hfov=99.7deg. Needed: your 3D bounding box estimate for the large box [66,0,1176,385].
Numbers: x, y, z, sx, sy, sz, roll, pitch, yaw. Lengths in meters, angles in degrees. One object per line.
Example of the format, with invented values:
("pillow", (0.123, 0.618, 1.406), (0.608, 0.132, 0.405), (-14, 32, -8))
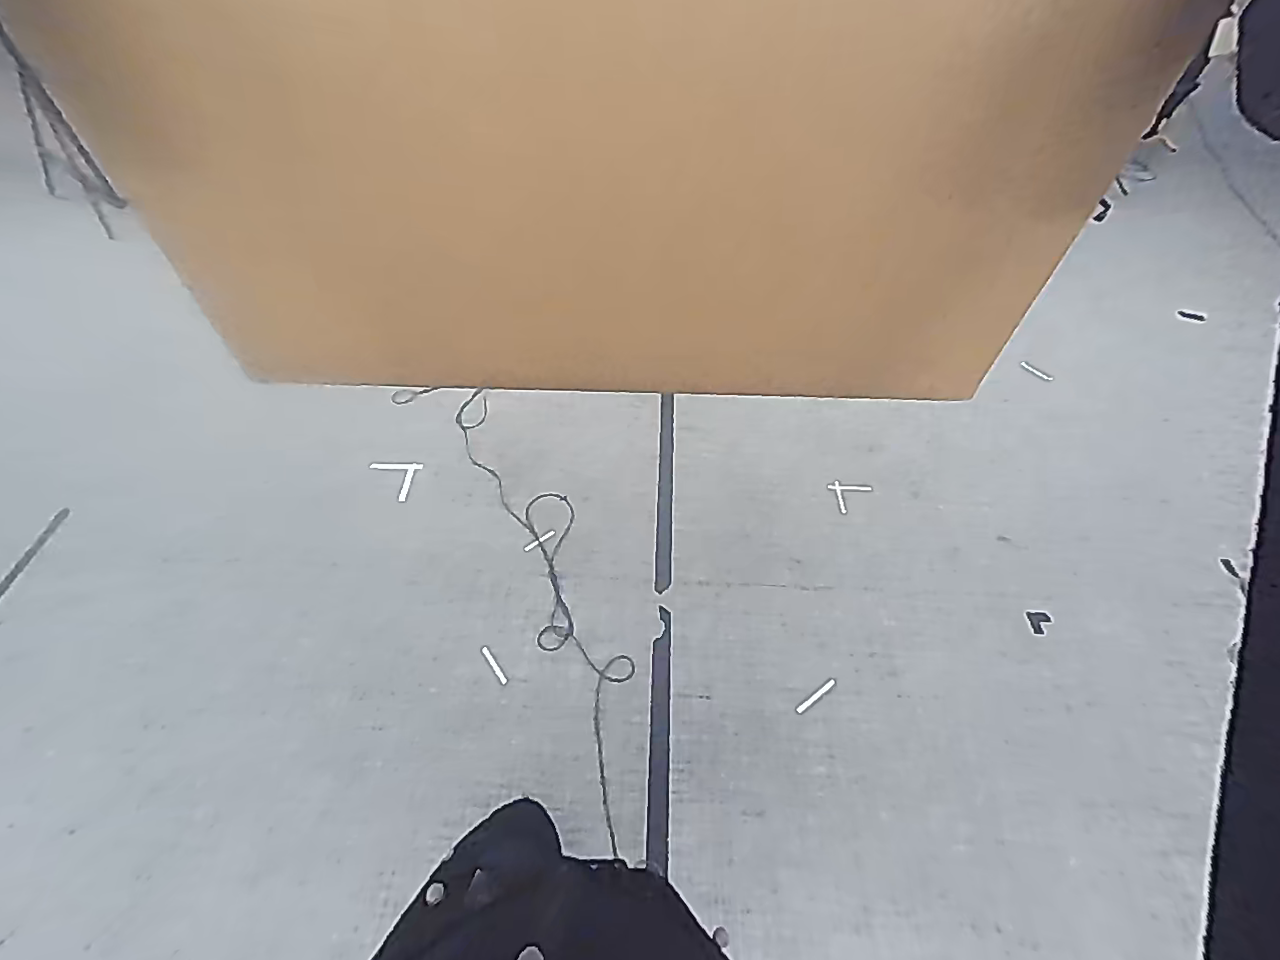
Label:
("large box", (-0.008, -0.268, 0.301), (0.408, 0.320, 0.320), (2, 50, -2))
